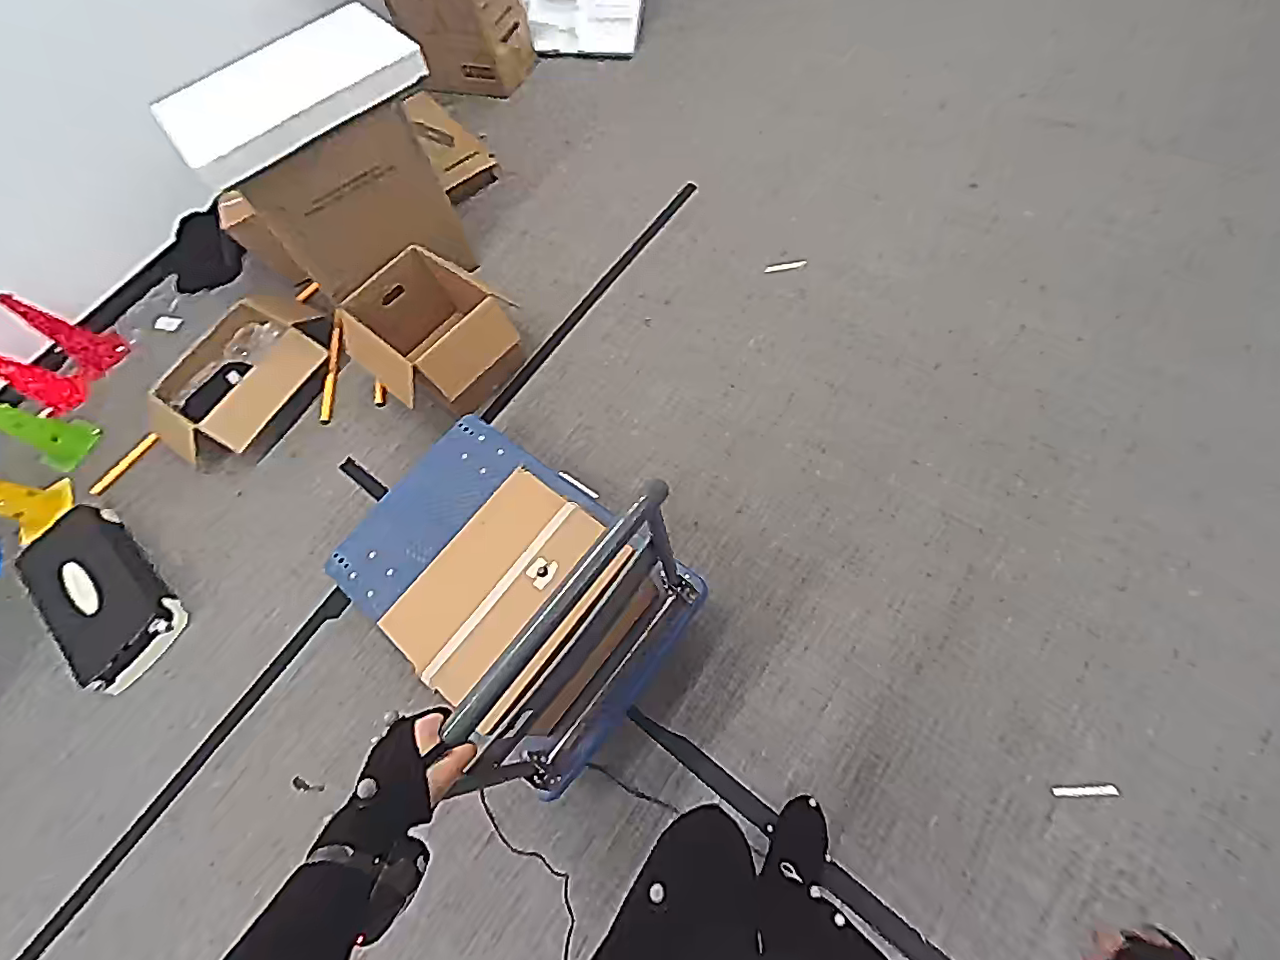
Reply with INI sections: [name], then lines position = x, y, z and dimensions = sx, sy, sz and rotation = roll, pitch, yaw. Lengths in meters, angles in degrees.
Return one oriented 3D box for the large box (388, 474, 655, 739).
[large box]
position = -0.221, 0.274, 1.143
dimensions = 0.320, 0.320, 0.408
rotation = 33, 74, 23
